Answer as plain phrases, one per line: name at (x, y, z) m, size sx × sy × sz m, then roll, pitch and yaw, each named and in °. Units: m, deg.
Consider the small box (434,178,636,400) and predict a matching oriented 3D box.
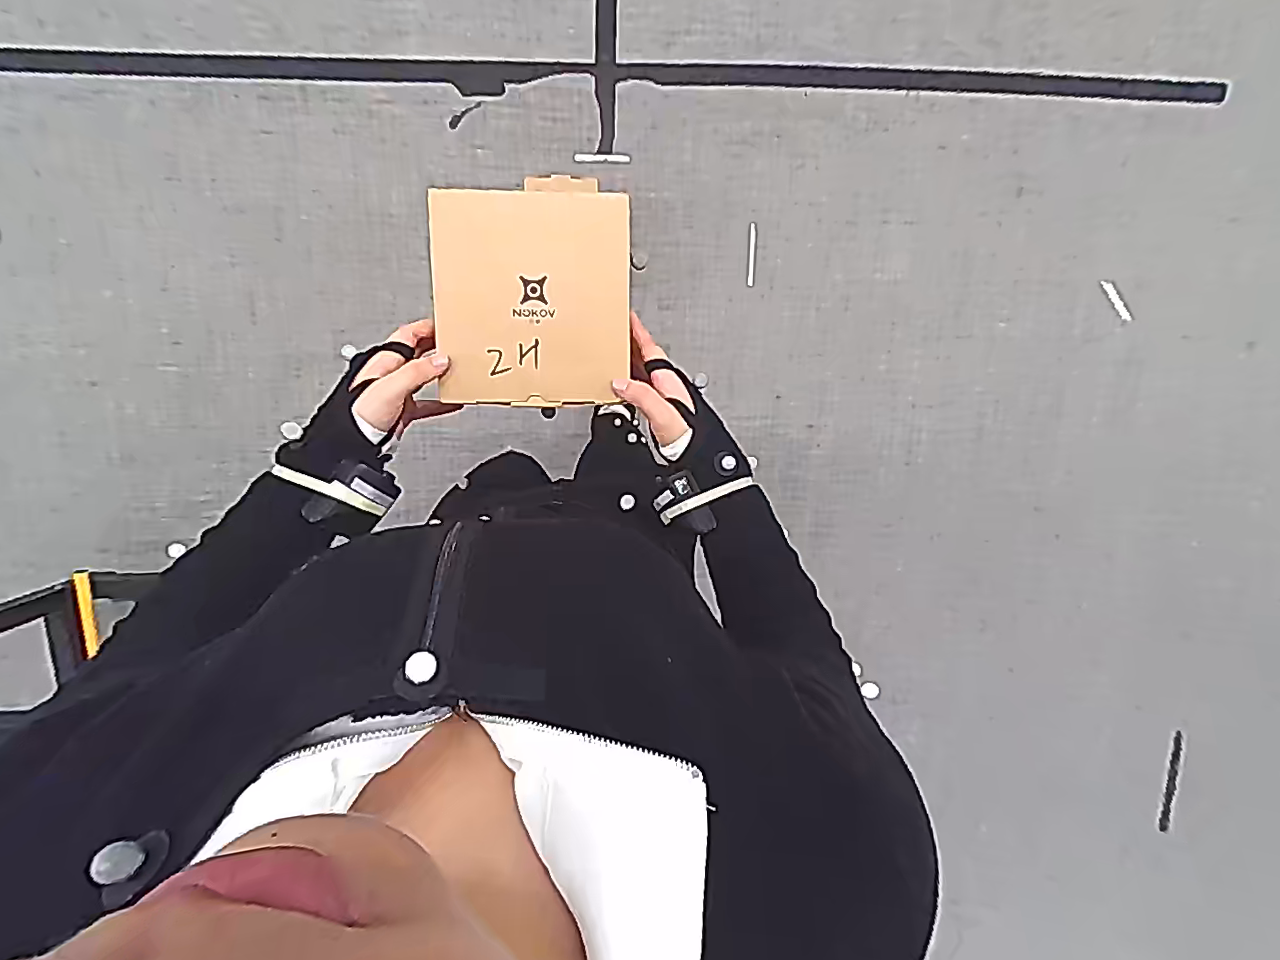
small box at (-0.091, -0.168, 0.529) m, size 0.168 × 0.176 × 0.179 m, roll 0°, pitch 99°, yaw -3°
